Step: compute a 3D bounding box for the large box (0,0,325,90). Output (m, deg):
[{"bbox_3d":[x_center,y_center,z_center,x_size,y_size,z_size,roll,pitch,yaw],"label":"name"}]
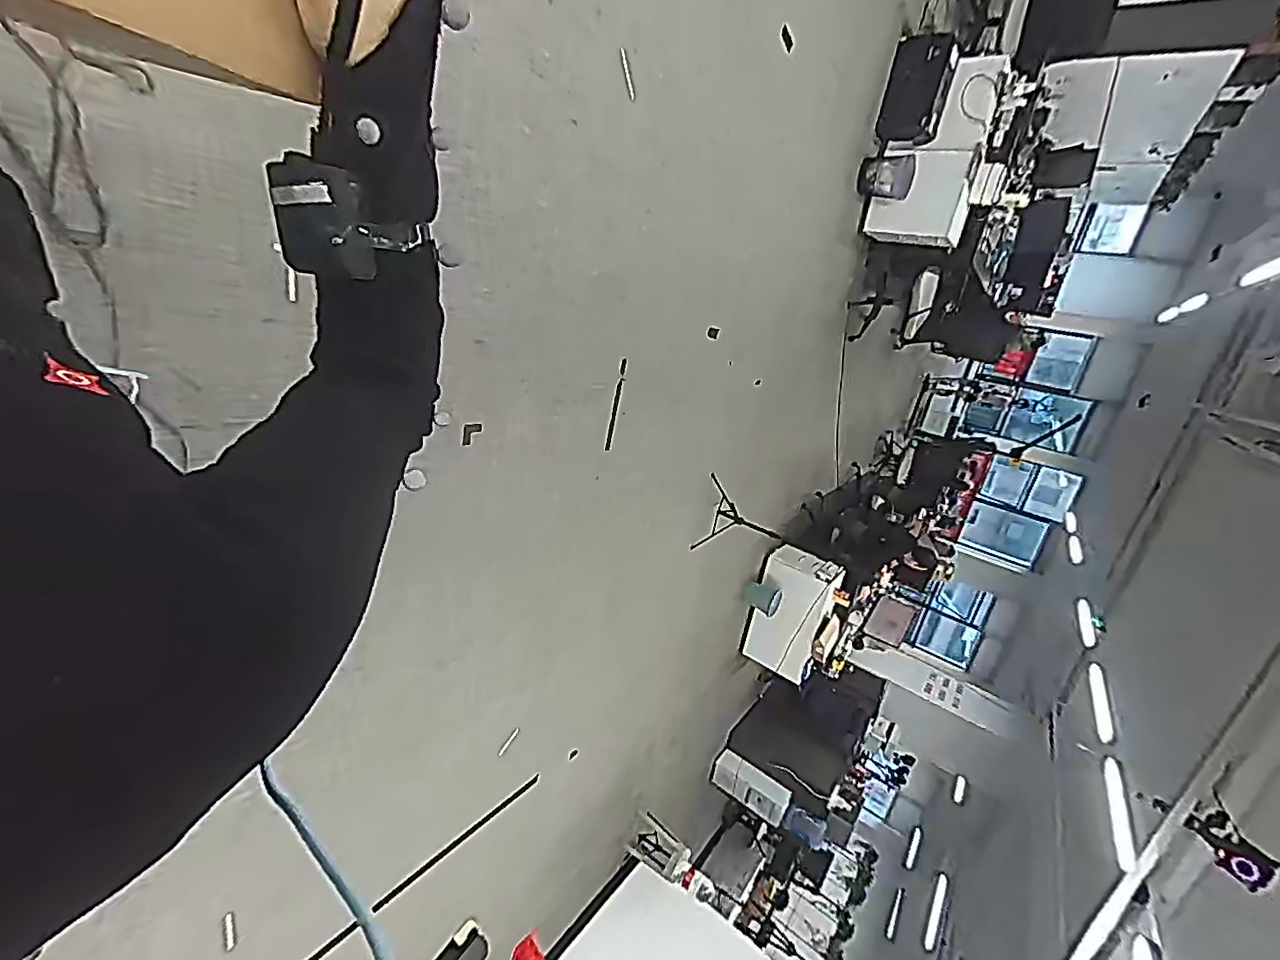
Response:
[{"bbox_3d":[-0.366,-0.382,0.150,0.408,0.320,0.320,-19,132,-57],"label":"large box"}]
